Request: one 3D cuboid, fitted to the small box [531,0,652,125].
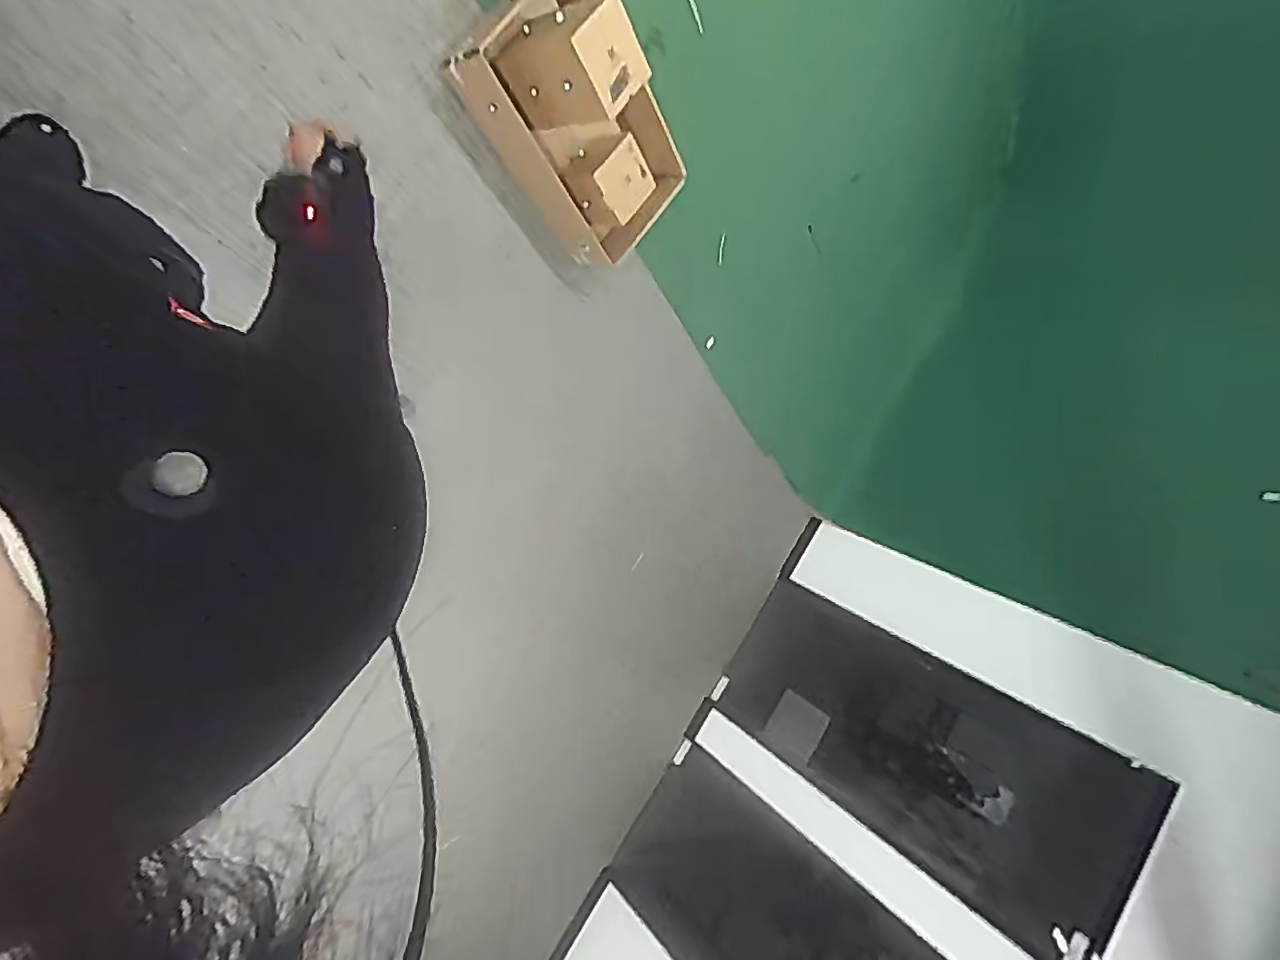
[{"bbox_3d":[-0.109,-0.942,1.226,0.168,0.176,0.179,-54,139,-10],"label":"small box"}]

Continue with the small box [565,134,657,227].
[{"bbox_3d":[-0.090,-0.856,1.553,0.179,0.176,0.168,-53,138,-10],"label":"small box"}]

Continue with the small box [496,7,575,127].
[{"bbox_3d":[-0.220,-1.003,1.332,0.168,0.176,0.179,-54,141,-9],"label":"small box"}]
